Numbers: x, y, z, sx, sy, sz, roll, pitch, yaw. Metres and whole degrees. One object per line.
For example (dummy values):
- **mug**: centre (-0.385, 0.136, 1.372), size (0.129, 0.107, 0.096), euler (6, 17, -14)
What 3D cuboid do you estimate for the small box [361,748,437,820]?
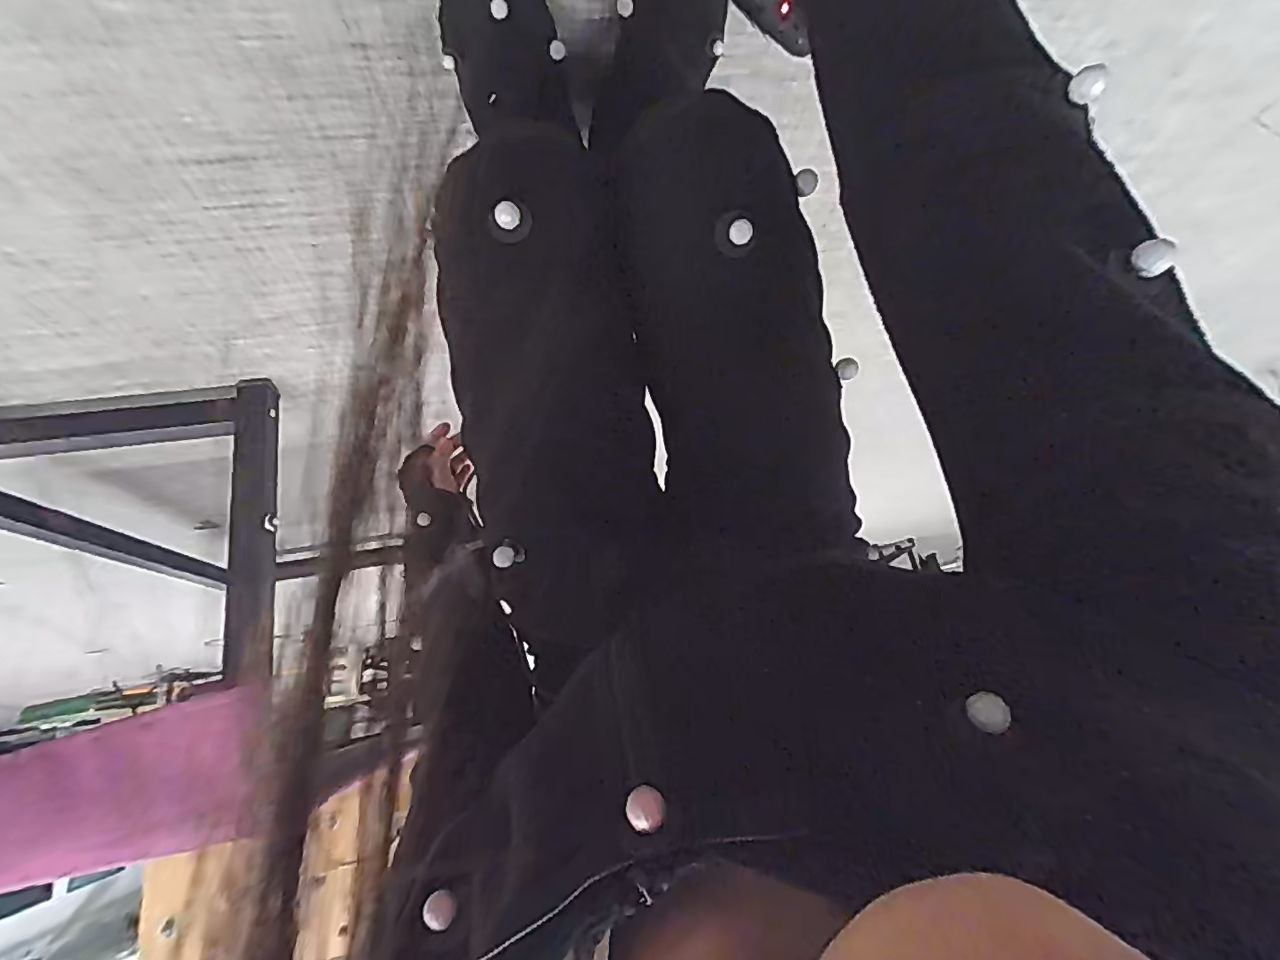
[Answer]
- **small box**: centre (-0.721, 0.912, 1.623), size (0.179, 0.176, 0.168), euler (-7, 160, -10)

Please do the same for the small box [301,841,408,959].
- **small box**: centre (-0.638, 0.935, 1.213), size (0.179, 0.176, 0.168), euler (-7, 162, -12)

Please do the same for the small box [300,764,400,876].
- **small box**: centre (-0.676, 0.783, 1.266), size (0.168, 0.176, 0.179), euler (-8, 161, -11)

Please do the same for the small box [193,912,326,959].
- **small box**: centre (-0.583, 0.788, 0.805), size (0.168, 0.176, 0.179), euler (-7, 162, -13)
